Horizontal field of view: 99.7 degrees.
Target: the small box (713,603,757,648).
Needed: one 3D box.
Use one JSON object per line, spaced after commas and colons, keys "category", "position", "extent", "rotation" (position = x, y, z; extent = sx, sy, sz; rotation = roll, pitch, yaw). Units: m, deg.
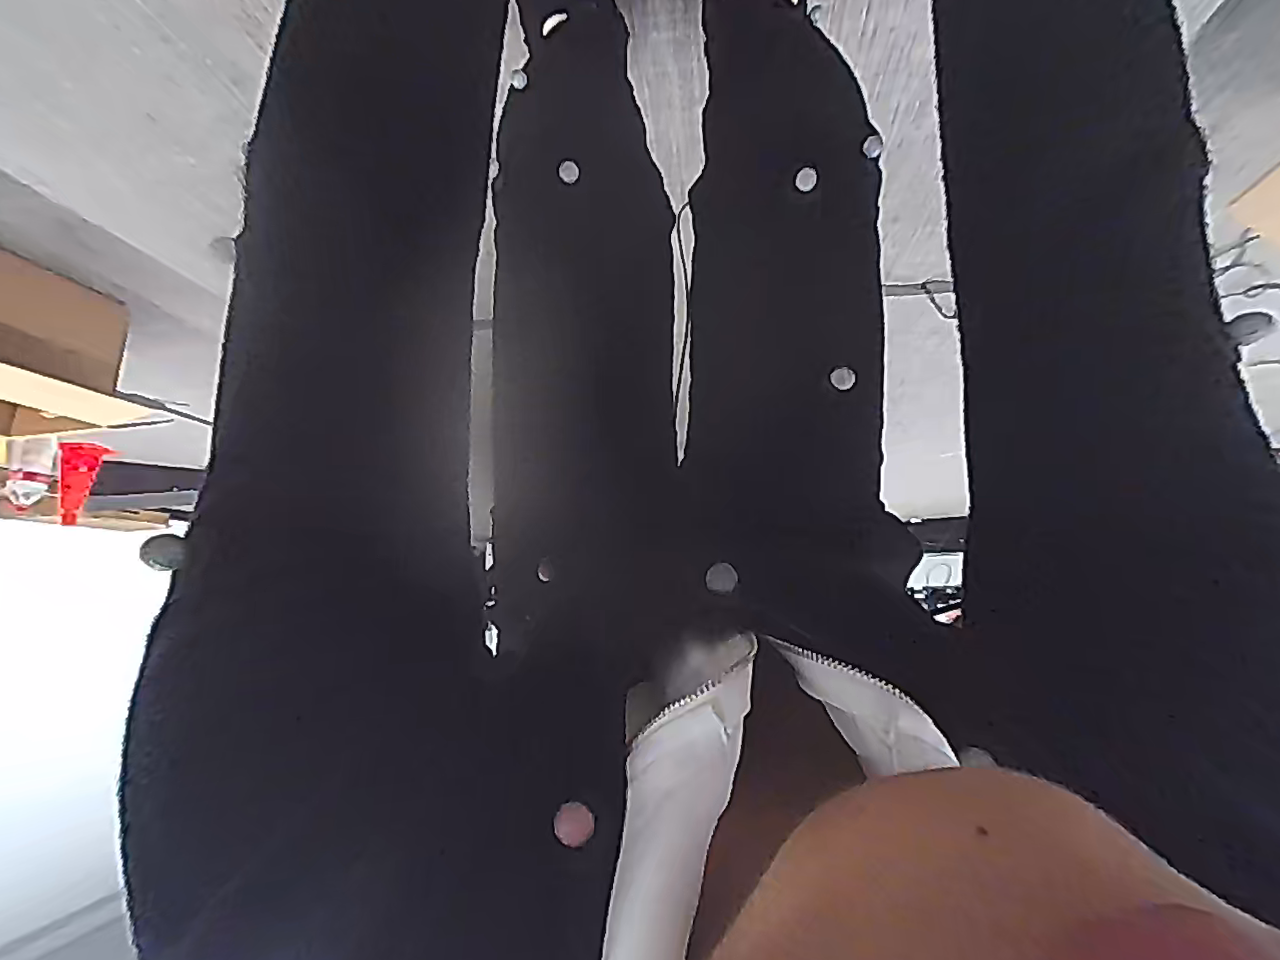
{"category": "small box", "position": [0.389, 0.596, 2.218], "extent": [0.168, 0.176, 0.179], "rotation": [-3, 167, 8]}
